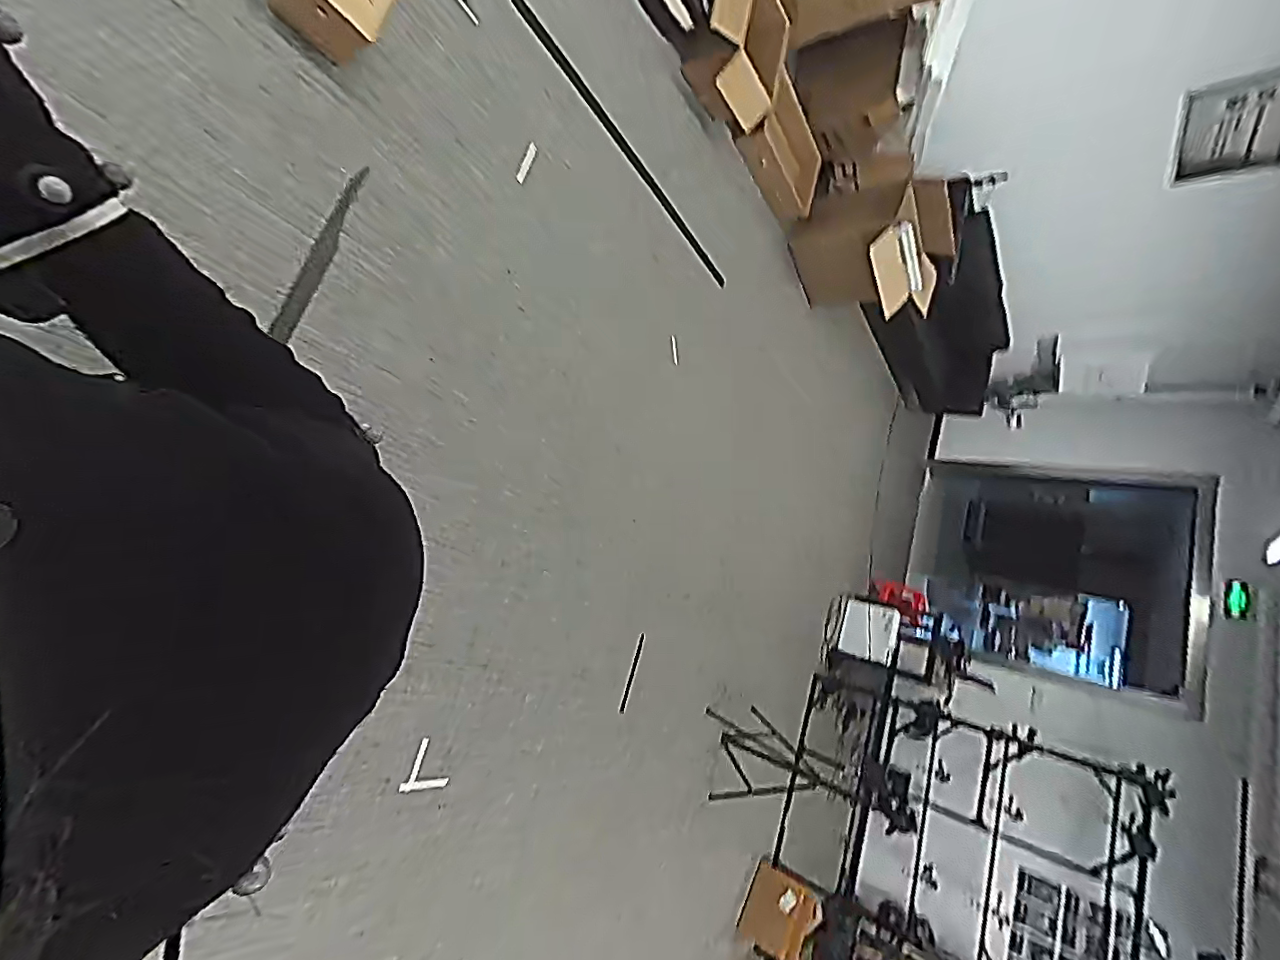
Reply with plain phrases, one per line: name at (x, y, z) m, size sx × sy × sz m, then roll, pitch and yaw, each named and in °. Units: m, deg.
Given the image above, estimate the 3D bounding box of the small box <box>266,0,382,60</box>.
small box at (-0.728, -1.131, 1.250) m, size 0.179 × 0.176 × 0.168 m, roll 28°, pitch 74°, yaw -50°
